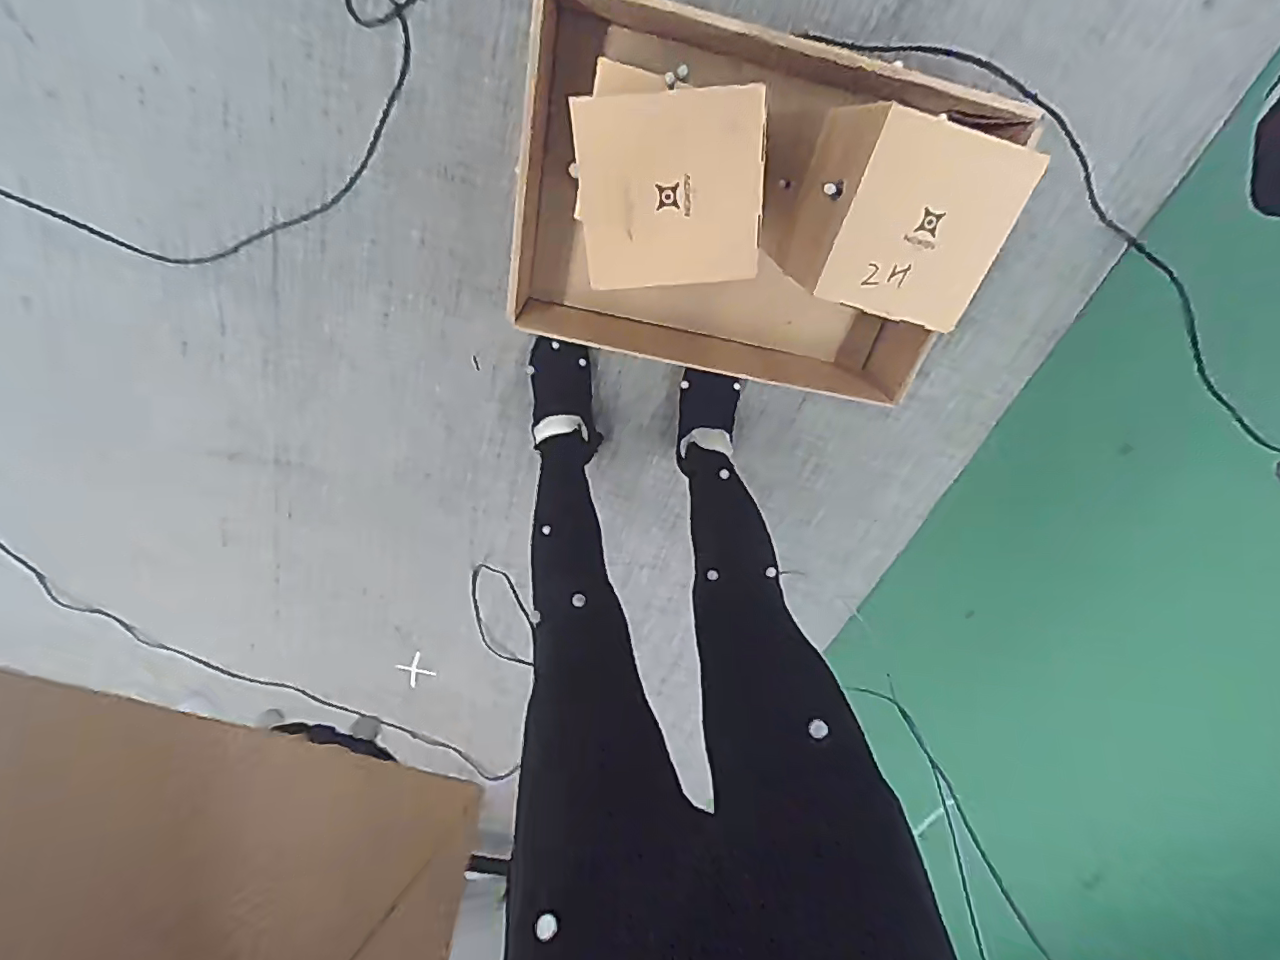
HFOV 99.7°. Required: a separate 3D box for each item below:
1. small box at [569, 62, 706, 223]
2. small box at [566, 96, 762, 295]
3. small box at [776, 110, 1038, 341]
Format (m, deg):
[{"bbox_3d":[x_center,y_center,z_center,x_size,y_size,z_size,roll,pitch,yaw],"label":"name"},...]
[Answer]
[{"bbox_3d":[0.011,-0.413,0.705,0.179,0.176,0.168,9,123,-10],"label":"small box"},{"bbox_3d":[0.021,-0.309,0.580,0.179,0.176,0.168,-4,124,0],"label":"small box"},{"bbox_3d":[0.269,-0.282,0.599,0.168,0.176,0.179,13,122,-9],"label":"small box"}]
